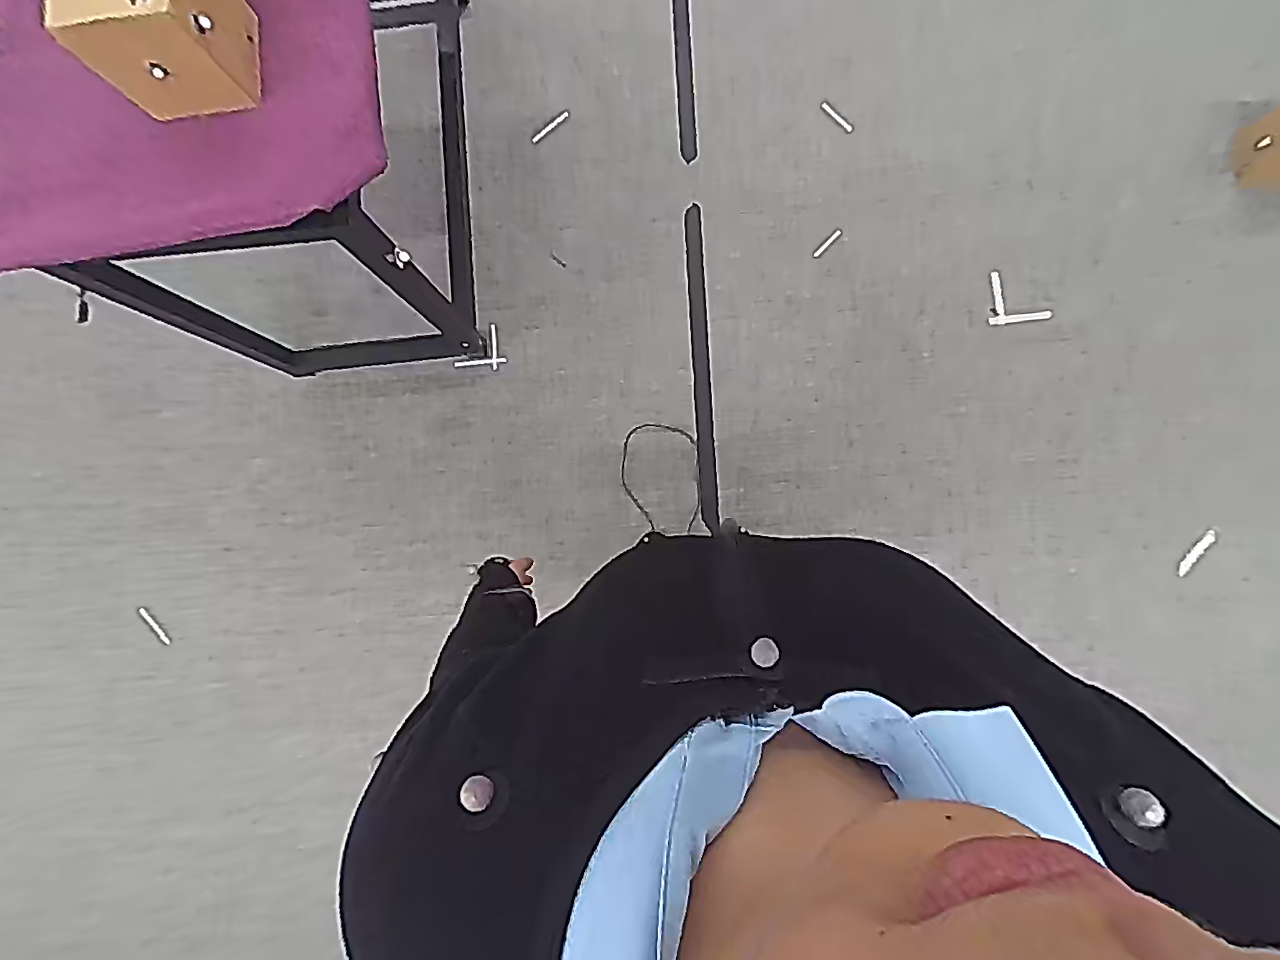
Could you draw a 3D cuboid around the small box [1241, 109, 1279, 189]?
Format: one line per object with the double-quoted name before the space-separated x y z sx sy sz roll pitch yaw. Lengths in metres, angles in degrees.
"small box" 1.808 -0.920 1.474 0.179 0.176 0.168 -1 85 2
